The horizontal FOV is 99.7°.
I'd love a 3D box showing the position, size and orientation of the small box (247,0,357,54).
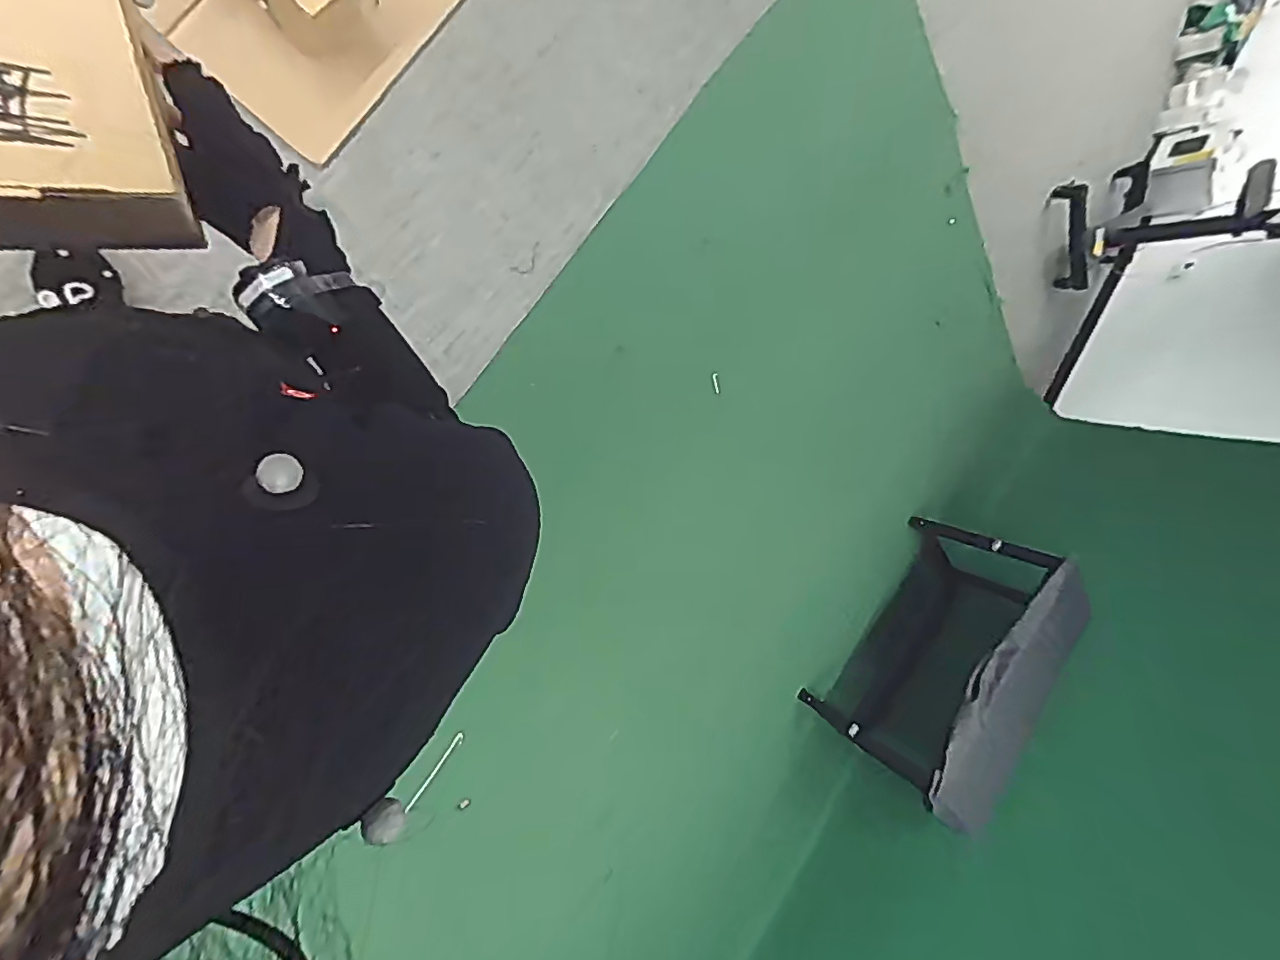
[{"bbox_3d":[-0.661,-0.980,1.037,0.168,0.176,0.179,43,77,-34],"label":"small box"}]
